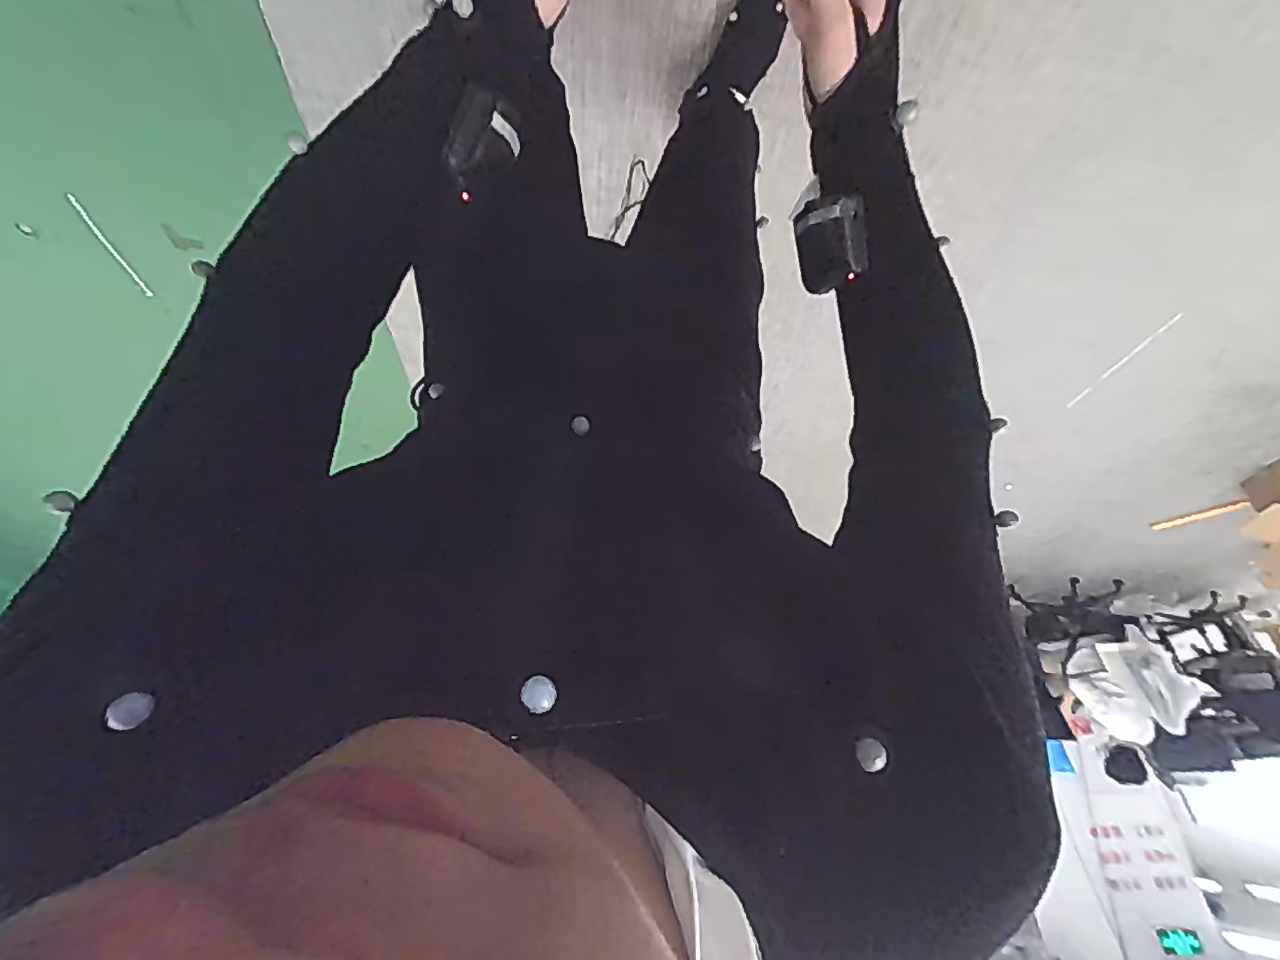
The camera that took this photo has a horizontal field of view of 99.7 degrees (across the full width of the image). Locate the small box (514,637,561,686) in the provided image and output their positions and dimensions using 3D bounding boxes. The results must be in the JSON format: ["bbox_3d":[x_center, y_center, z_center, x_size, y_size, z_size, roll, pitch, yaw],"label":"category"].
[{"bbox_3d":[-0.427,0.758,2.259,0.179,0.176,0.168,6,149,-11],"label":"small box"}]
